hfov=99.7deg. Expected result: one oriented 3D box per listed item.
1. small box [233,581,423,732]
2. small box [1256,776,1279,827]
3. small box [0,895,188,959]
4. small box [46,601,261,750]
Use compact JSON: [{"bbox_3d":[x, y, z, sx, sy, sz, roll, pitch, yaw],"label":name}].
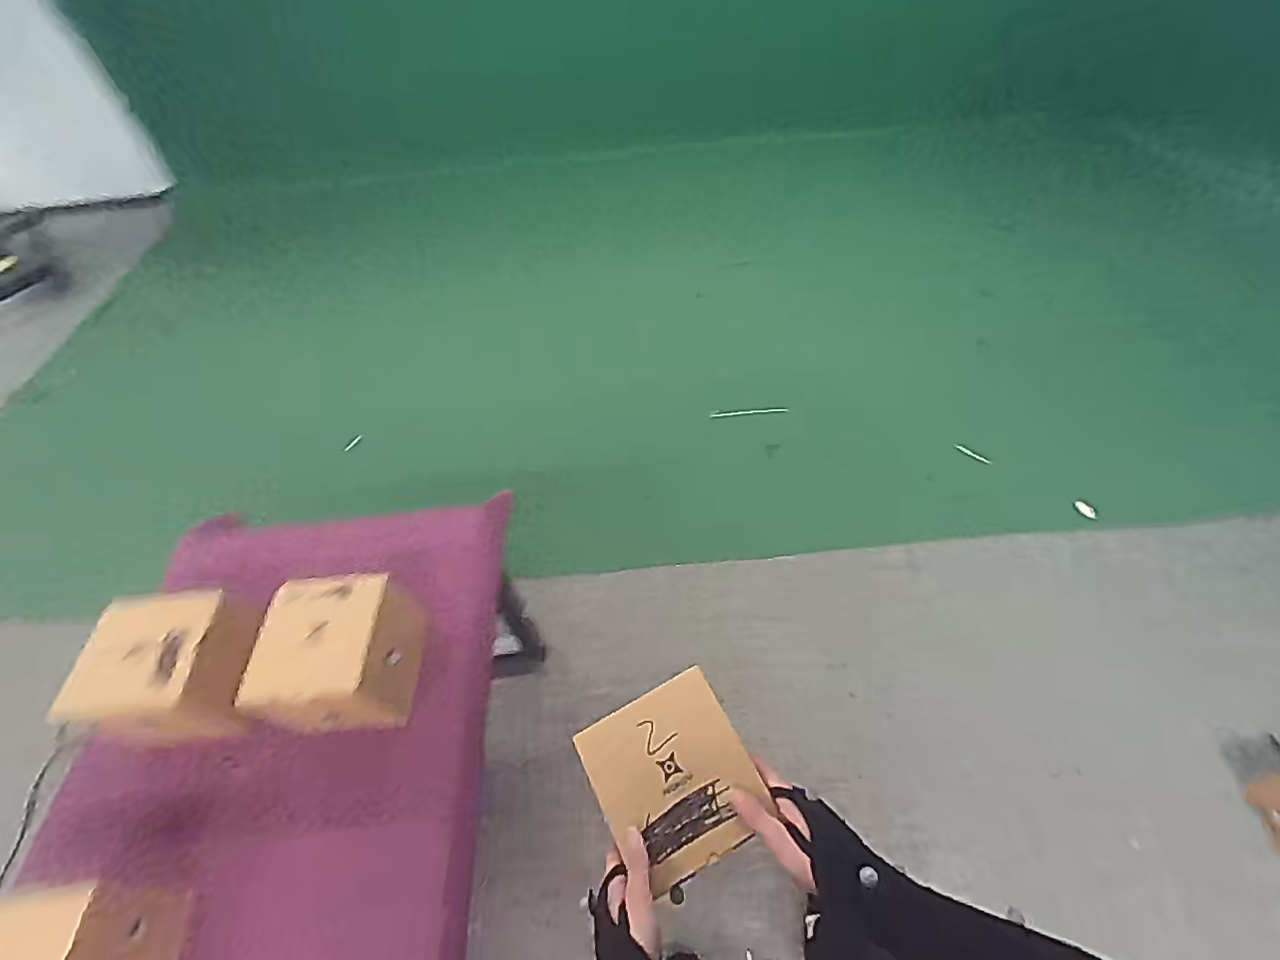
[{"bbox_3d":[-0.450,0.273,0.817,0.168,0.176,0.179,-6,53,2],"label":"small box"},{"bbox_3d":[1.549,0.733,1.182,0.179,0.176,0.168,-4,52,2],"label":"small box"},{"bbox_3d":[-0.667,0.585,0.606,0.168,0.176,0.179,-8,53,0],"label":"small box"},{"bbox_3d":[-0.700,0.300,0.823,0.179,0.176,0.168,-7,53,1],"label":"small box"}]
